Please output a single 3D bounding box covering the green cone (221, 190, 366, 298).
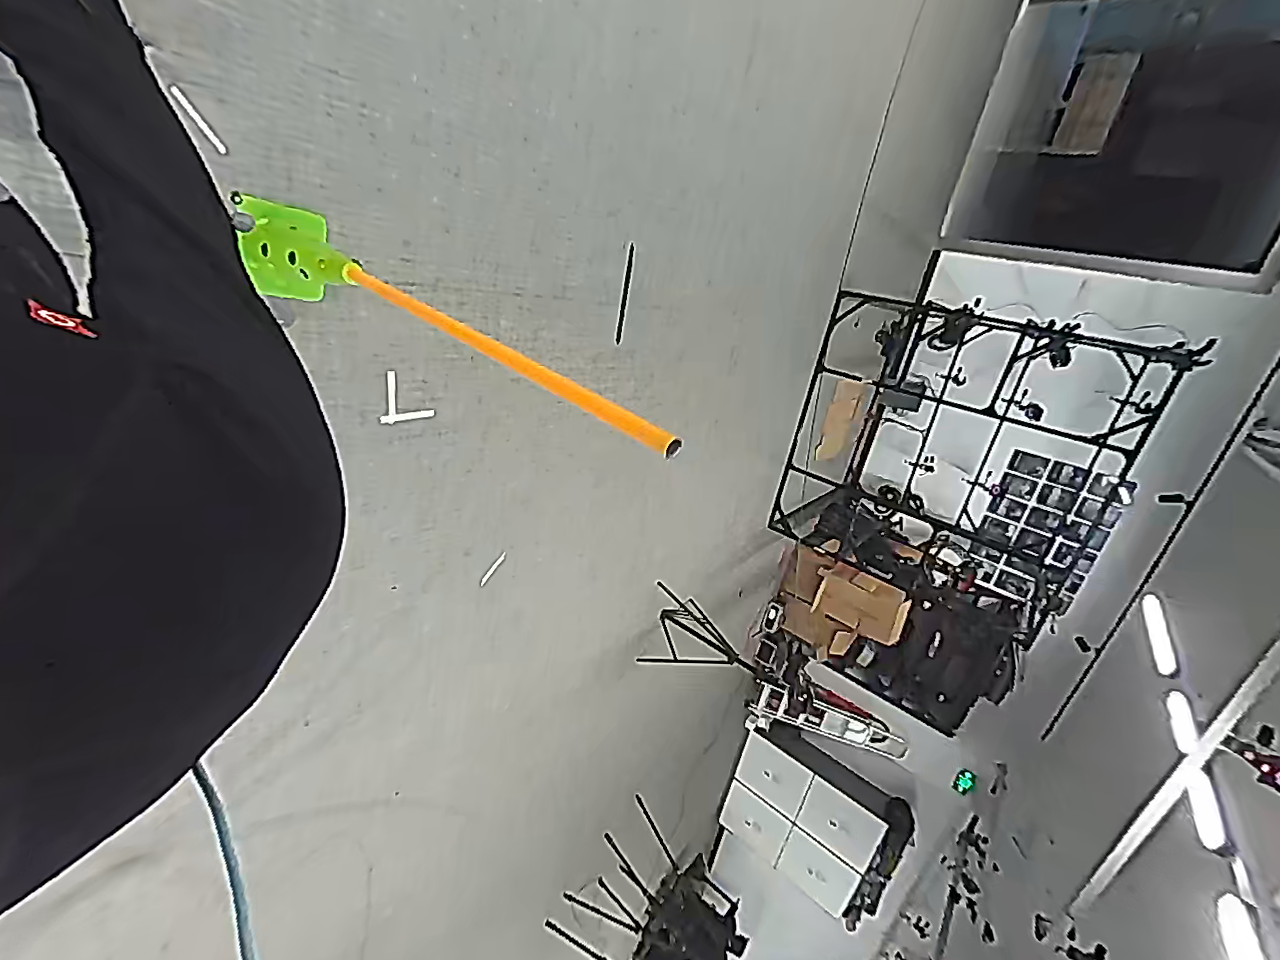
[{"bbox_3d":[-0.699,-0.466,1.144,0.202,0.368,0.200,-12,121,-54],"label":"green cone"}]
